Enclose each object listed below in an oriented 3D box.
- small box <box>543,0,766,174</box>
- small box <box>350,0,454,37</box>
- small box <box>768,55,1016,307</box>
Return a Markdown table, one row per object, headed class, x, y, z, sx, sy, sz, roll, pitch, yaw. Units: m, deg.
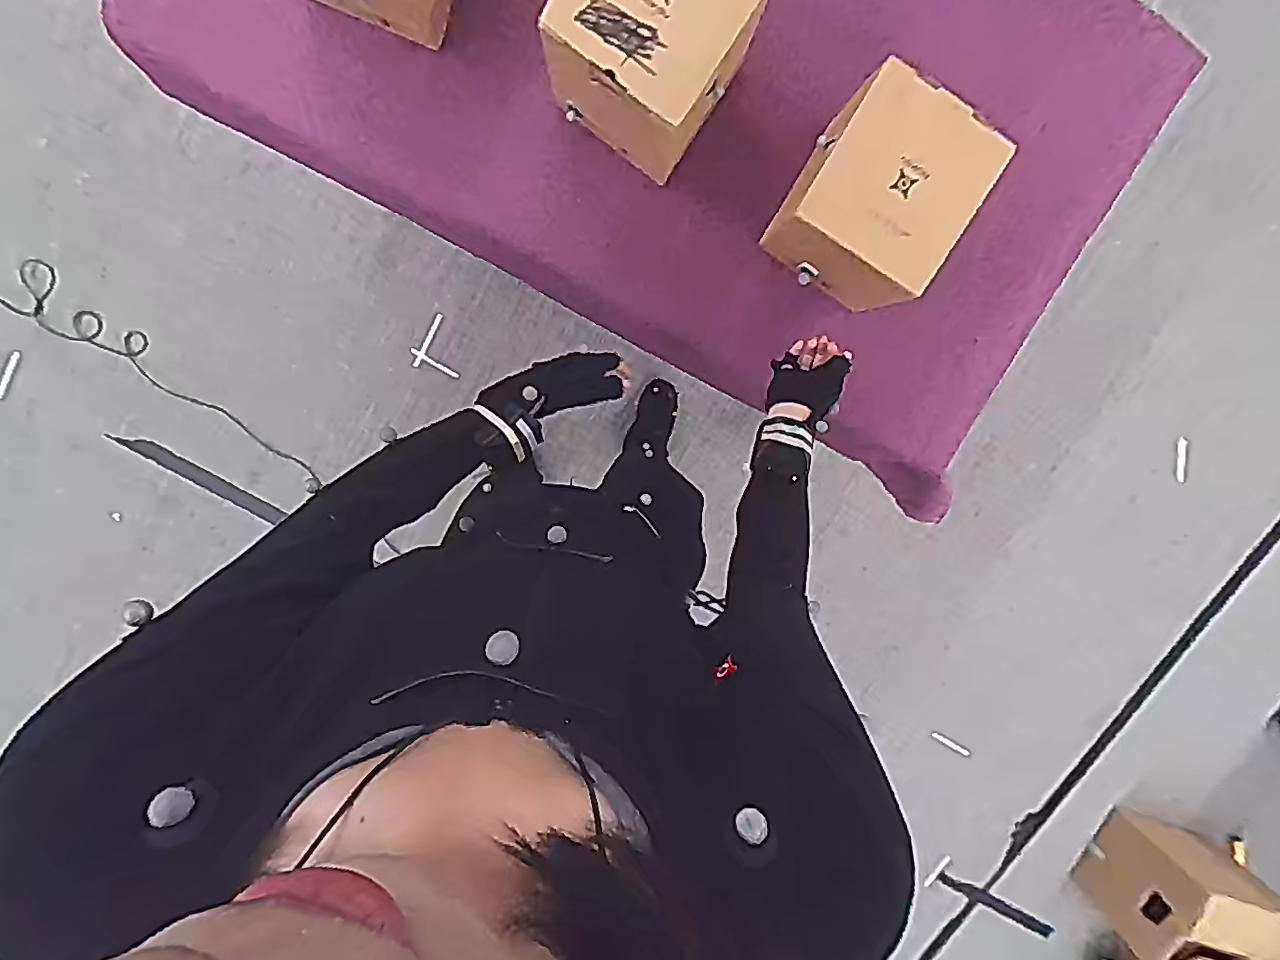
| class | x | y | z | sx | sy | sz | roll | pitch | yaw |
| --- | --- | --- | --- | --- | --- | --- | --- | --- | --- |
| small box | 0.018 | -0.480 | 0.593 | 0.168 | 0.176 | 0.179 | 34 | 97 | -9 |
| small box | -0.281 | -0.612 | 0.551 | 0.168 | 0.176 | 0.179 | 18 | 101 | -7 |
| small box | 0.275 | -0.328 | 0.638 | 0.168 | 0.176 | 0.179 | 30 | 99 | -7 |
